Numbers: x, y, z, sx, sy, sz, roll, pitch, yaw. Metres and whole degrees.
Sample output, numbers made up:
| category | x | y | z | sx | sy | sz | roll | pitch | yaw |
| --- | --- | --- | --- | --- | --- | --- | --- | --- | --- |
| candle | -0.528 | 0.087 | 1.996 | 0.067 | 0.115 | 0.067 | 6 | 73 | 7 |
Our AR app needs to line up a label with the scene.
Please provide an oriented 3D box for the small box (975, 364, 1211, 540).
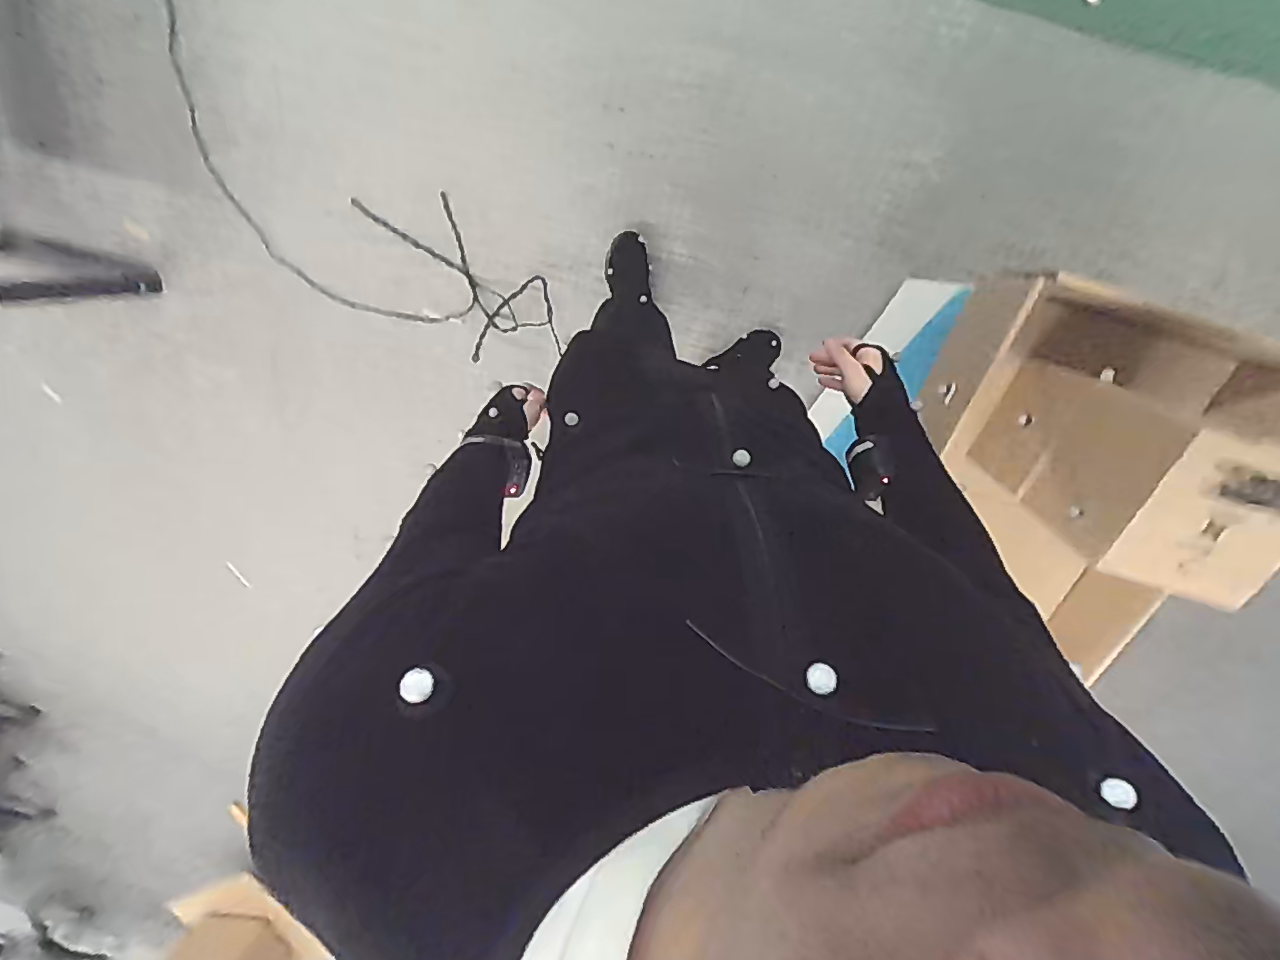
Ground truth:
| category | x | y | z | sx | sy | sz | roll | pitch | yaw |
| --- | --- | --- | --- | --- | --- | --- | --- | --- | --- |
| small box | 0.626 | -0.048 | 0.783 | 0.168 | 0.176 | 0.179 | 19 | 115 | 0 |
